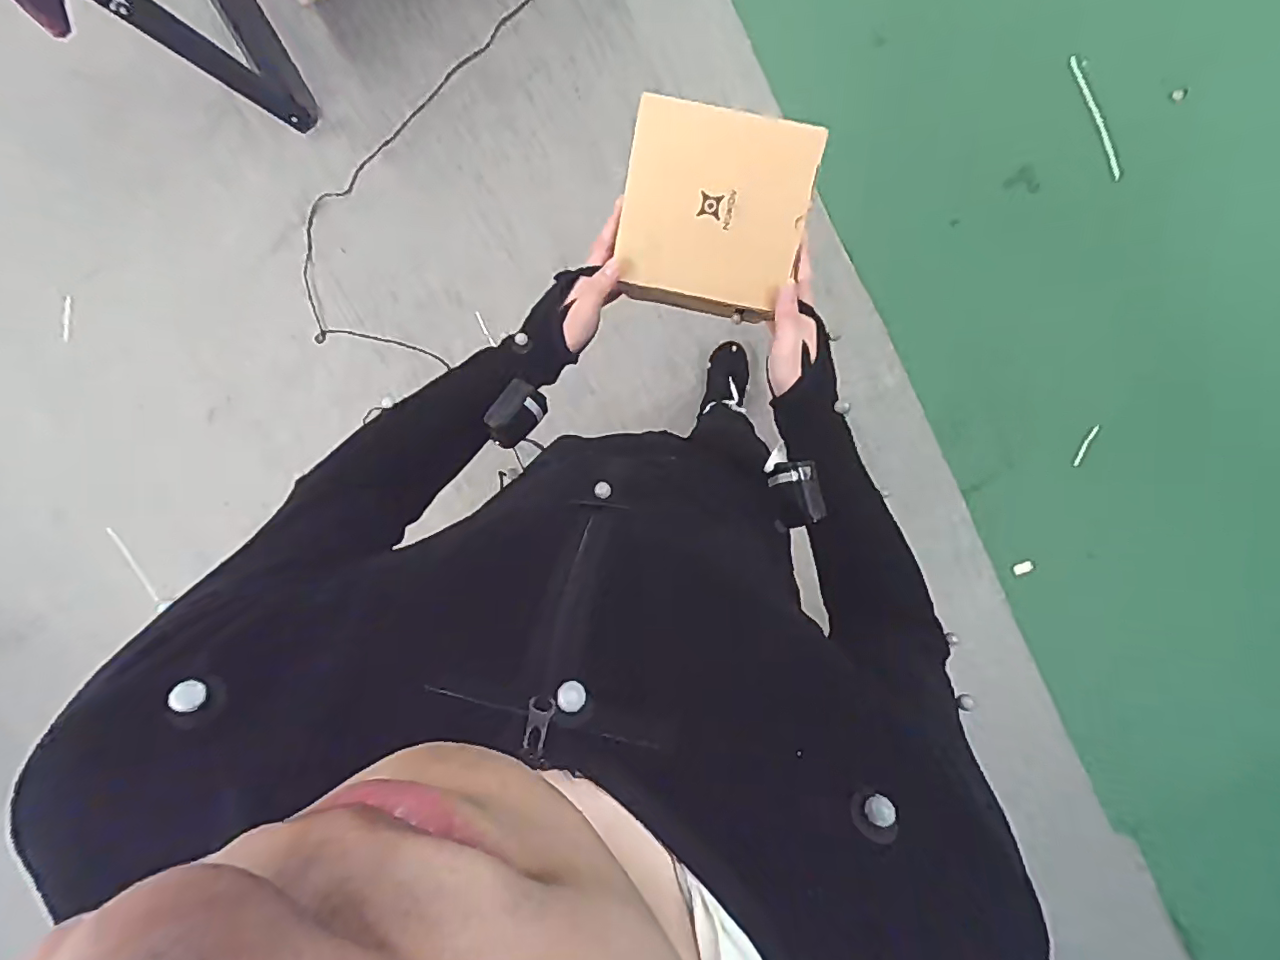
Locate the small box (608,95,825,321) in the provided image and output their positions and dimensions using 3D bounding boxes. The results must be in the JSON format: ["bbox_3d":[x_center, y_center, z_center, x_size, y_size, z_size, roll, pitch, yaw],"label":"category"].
[{"bbox_3d":[0.072,-0.272,0.582,0.179,0.176,0.168,10,103,0],"label":"small box"}]
